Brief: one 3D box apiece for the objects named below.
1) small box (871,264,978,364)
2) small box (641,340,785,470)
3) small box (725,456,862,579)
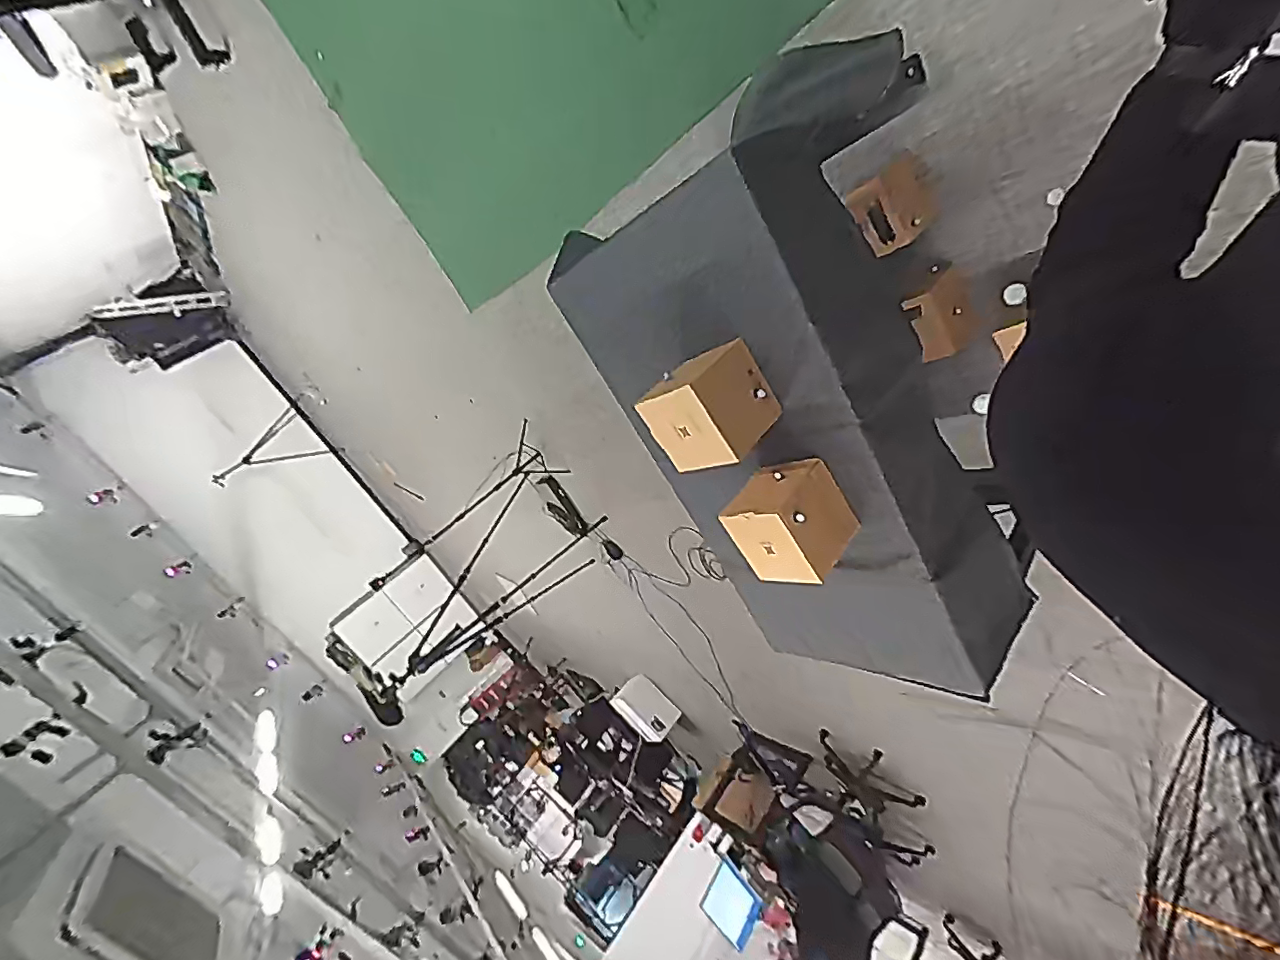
[{"bbox_3d":[0.737,-0.433,1.397,0.179,0.176,0.168,54,151,-18],"label":"small box"},{"bbox_3d":[0.142,-0.140,1.037,0.168,0.176,0.179,54,151,-17],"label":"small box"},{"bbox_3d":[0.314,0.076,1.094,0.179,0.176,0.168,54,151,-14],"label":"small box"}]
